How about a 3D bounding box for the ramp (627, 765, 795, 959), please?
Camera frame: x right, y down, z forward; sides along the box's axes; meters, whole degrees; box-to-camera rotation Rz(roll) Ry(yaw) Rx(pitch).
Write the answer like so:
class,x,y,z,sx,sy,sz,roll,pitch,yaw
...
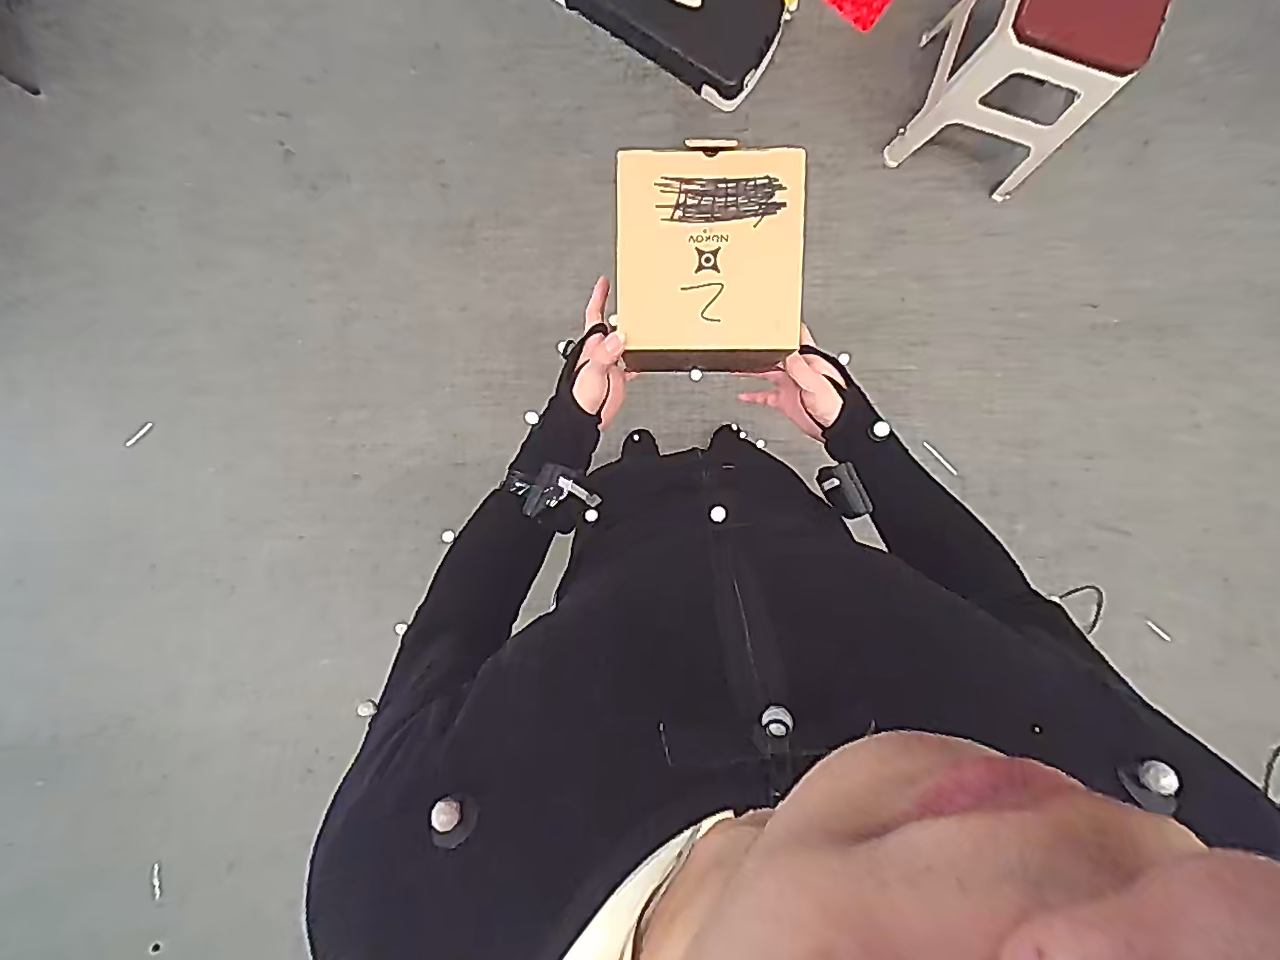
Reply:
class,x,y,z,sx,sy,sz,roll,pitch,yaw
ramp,0.214,1.383,1.613,0.509,0.206,0.991,-3,93,1
